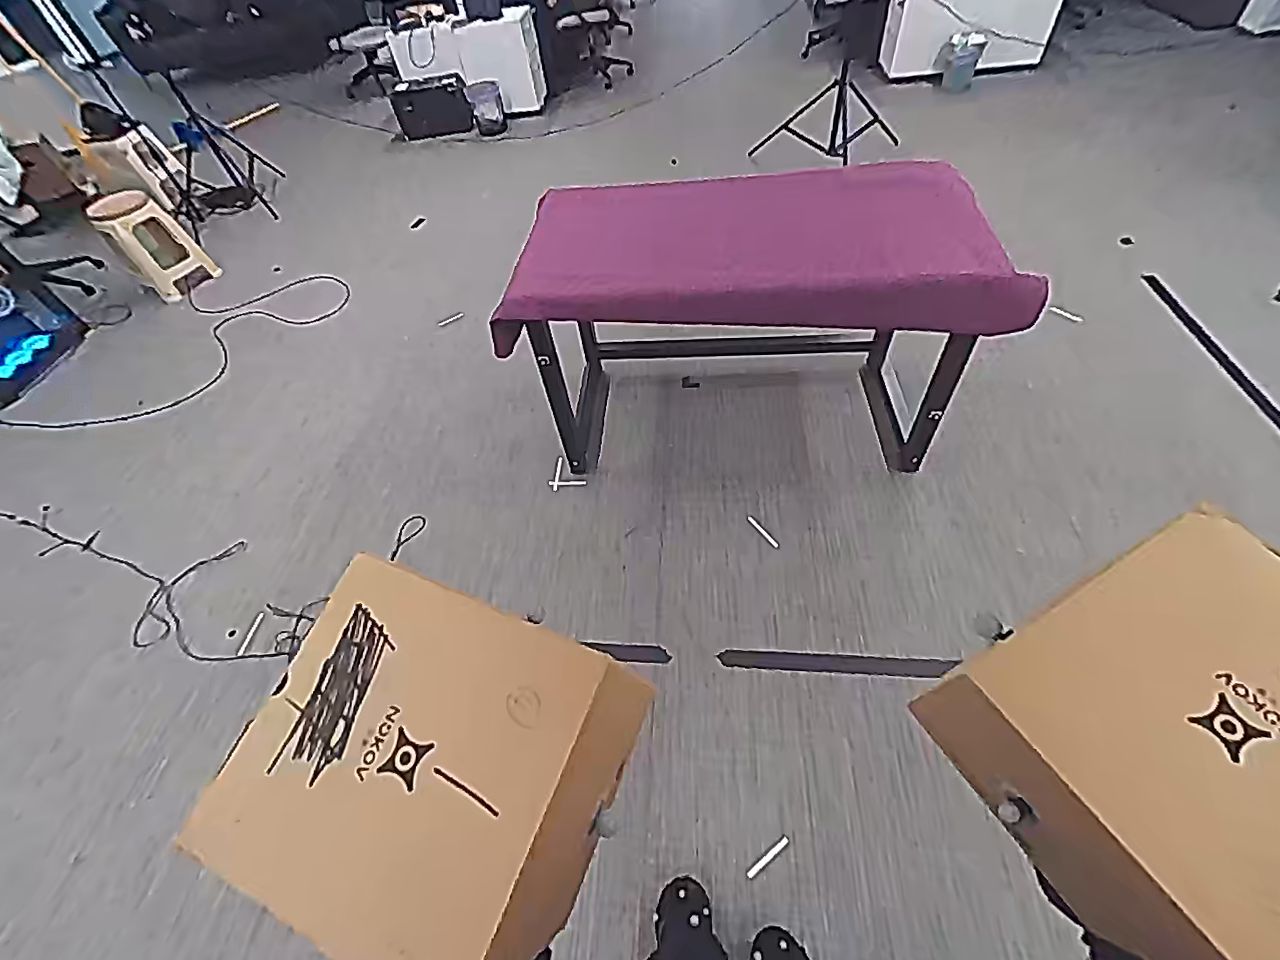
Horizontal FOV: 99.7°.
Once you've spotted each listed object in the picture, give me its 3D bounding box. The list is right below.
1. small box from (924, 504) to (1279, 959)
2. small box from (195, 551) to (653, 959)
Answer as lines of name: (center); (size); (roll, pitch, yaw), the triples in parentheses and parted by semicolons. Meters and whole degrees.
small box: (0.306, 0.152, 0.332); (0.179, 0.176, 0.168); (-32, 60, -5)
small box: (-0.108, 0.171, 0.349); (0.179, 0.176, 0.168); (18, 69, 18)
